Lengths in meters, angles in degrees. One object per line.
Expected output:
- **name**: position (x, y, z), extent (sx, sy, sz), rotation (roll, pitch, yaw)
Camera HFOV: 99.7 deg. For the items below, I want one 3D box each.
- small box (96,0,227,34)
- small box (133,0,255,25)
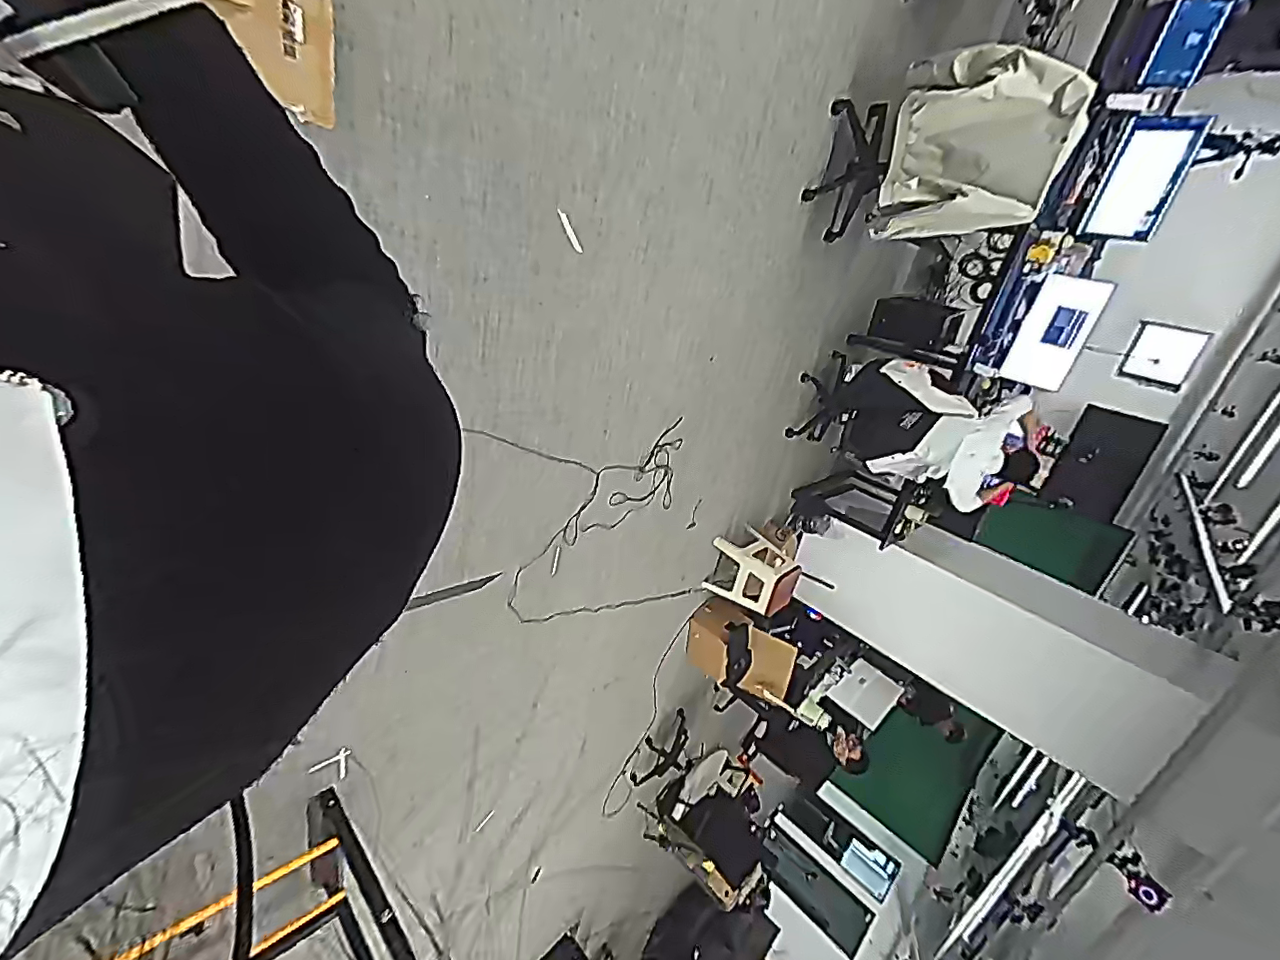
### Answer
- **small box**: position (-0.743, -0.799, 0.803), extent (0.168, 0.176, 0.179), rotation (-15, 126, -46)
- **small box**: position (-0.632, -0.733, 0.703), extent (0.168, 0.176, 0.179), rotation (-17, 126, -43)
